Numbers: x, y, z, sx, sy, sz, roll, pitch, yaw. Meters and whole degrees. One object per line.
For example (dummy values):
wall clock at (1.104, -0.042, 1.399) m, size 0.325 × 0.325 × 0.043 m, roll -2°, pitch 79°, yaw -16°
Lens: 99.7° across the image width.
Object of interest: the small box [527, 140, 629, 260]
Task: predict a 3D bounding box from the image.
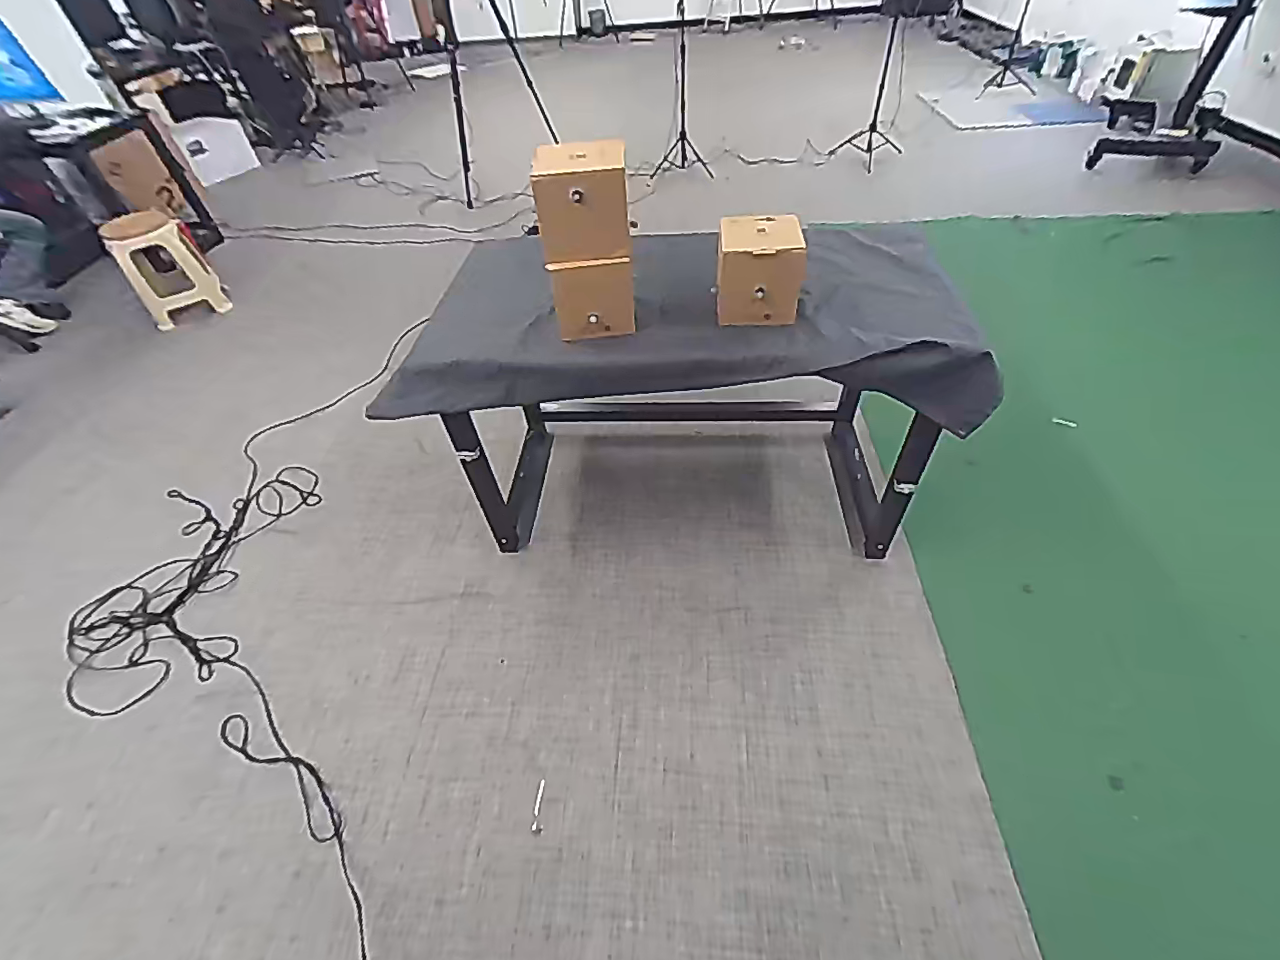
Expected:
small box at (-0.116, -0.554, 1.079) m, size 0.179 × 0.176 × 0.168 m, roll -4°, pitch 48°, yaw 0°

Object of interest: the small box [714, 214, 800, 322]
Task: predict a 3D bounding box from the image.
small box at (0.248, -0.459, 1.184) m, size 0.168 × 0.176 × 0.179 m, roll 0°, pitch 48°, yaw 5°

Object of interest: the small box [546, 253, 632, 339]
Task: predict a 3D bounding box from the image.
small box at (-0.111, -0.433, 1.188) m, size 0.168 × 0.176 × 0.179 m, roll -7°, pitch 48°, yaw -2°
